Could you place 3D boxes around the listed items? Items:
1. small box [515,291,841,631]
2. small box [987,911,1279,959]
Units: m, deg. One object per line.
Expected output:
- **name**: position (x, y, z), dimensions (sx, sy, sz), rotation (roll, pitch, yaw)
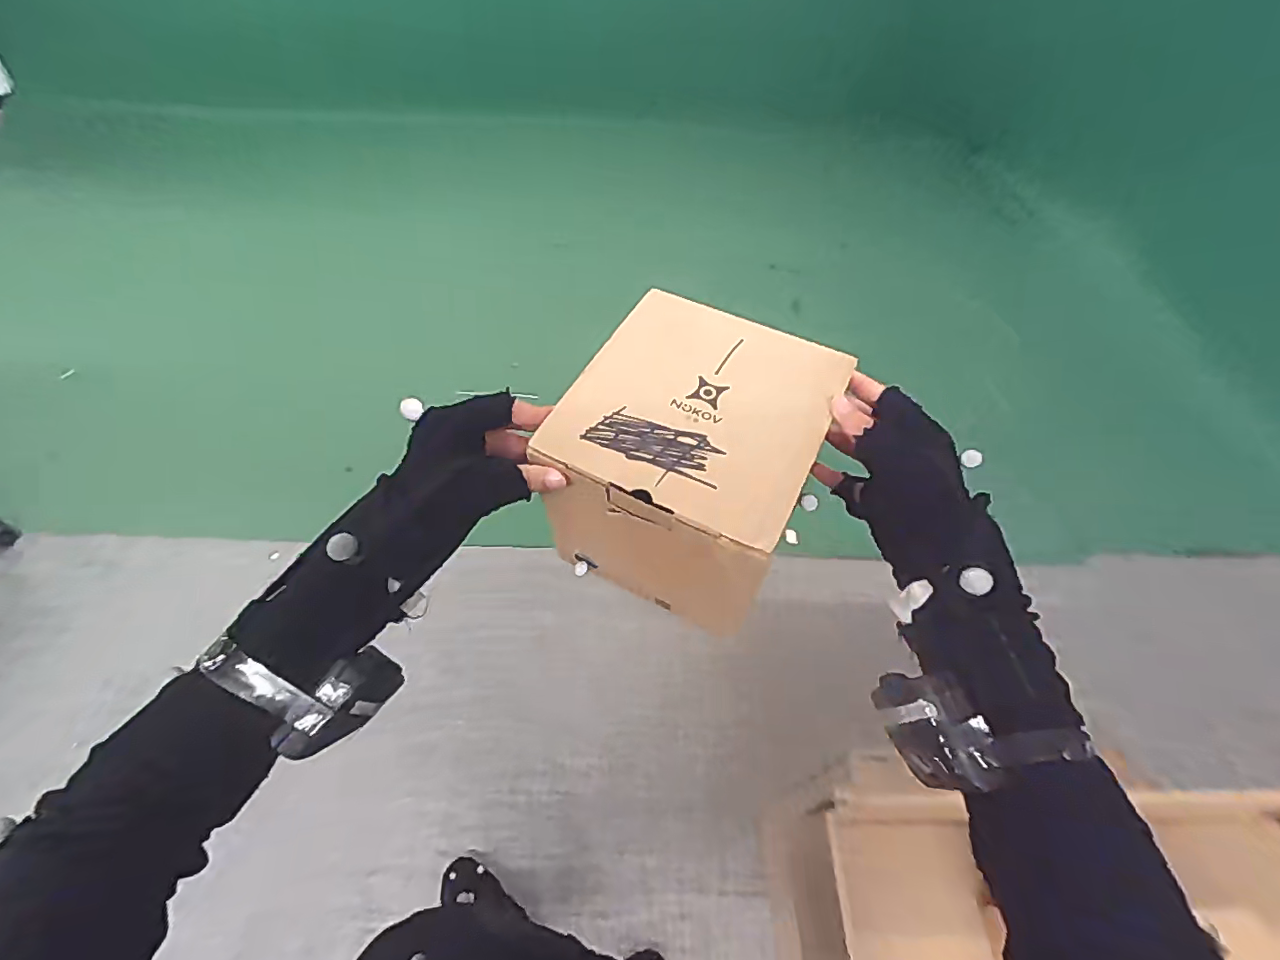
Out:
- **small box**: position (0.032, -0.009, 0.427), dimensions (0.168, 0.176, 0.179), rotation (24, 59, 15)
- **small box**: position (0.464, 0.508, 0.489), dimensions (0.168, 0.176, 0.179), rotation (1, 53, -3)
